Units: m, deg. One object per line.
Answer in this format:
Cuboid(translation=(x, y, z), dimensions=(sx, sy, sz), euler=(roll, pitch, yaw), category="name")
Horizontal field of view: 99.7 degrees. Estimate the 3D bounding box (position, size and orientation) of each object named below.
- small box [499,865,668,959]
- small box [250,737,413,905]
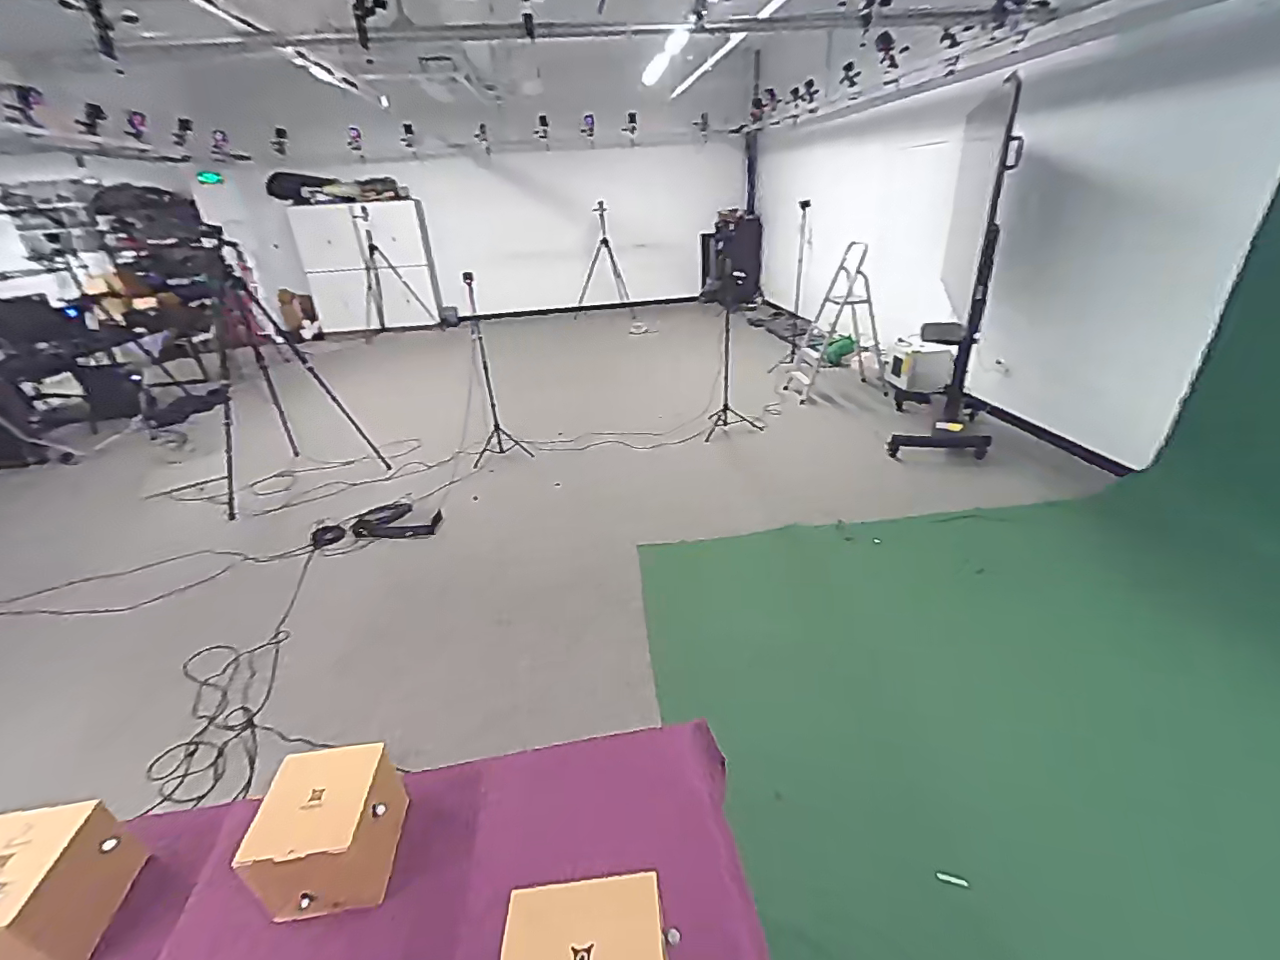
Cuboid(translation=(-0.053, 0.555, 0.567), dimensions=(0.168, 0.176, 0.179), euler=(-8, 18, 1), category="small box")
Cuboid(translation=(-0.502, 0.572, 0.915), dimensions=(0.168, 0.176, 0.179), euler=(-6, 30, -3), category="small box")
